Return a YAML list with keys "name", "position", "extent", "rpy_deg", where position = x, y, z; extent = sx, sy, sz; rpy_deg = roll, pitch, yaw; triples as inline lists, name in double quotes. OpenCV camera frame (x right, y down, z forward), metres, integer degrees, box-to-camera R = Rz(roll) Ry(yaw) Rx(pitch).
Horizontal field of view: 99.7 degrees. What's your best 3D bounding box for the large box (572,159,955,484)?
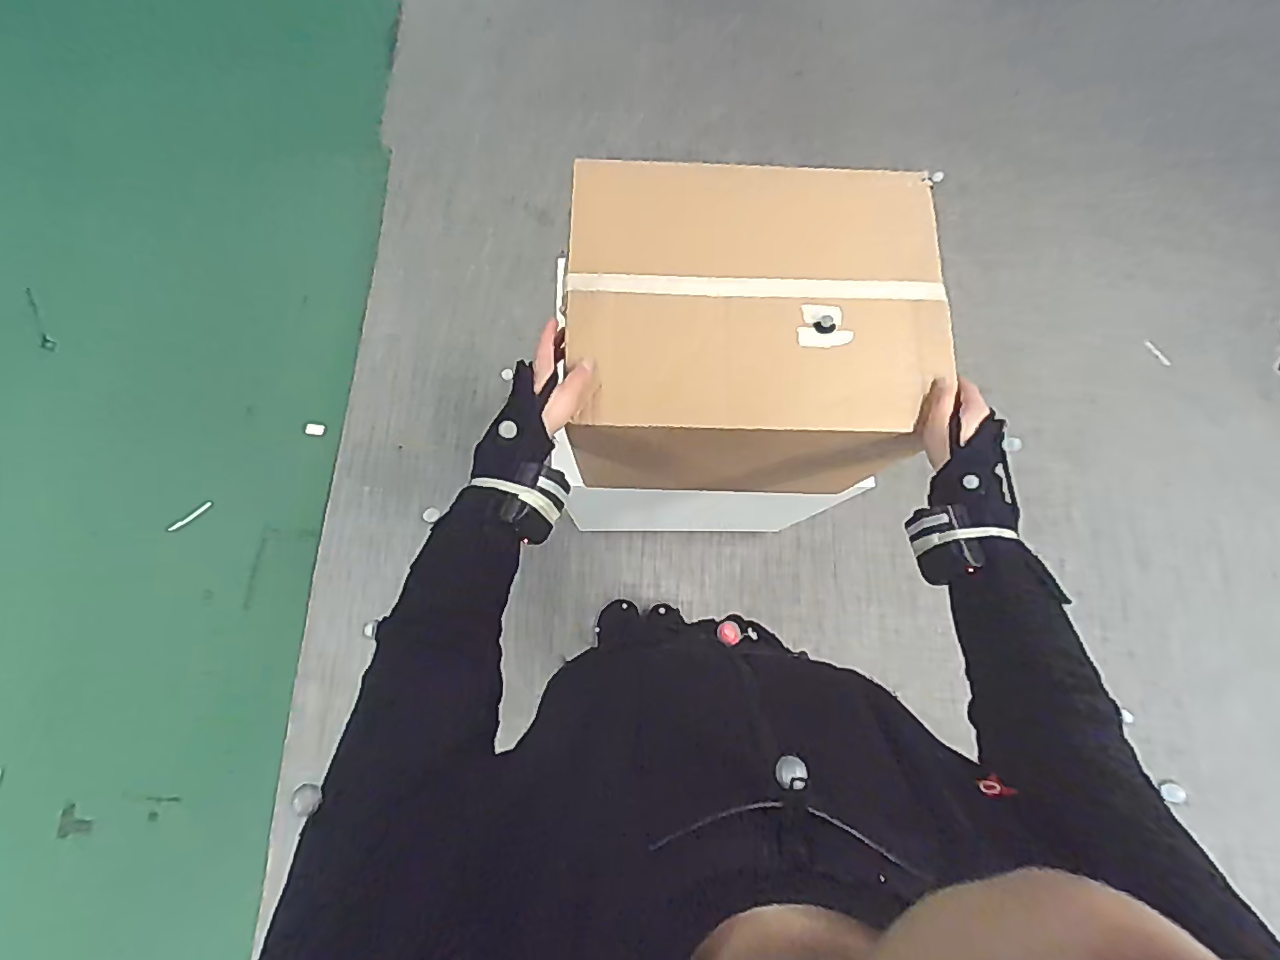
- name: "large box"
  position: [0.120, -0.177, 0.725]
  extent: [0.408, 0.320, 0.320]
  rpy_deg: [1, 78, -3]
